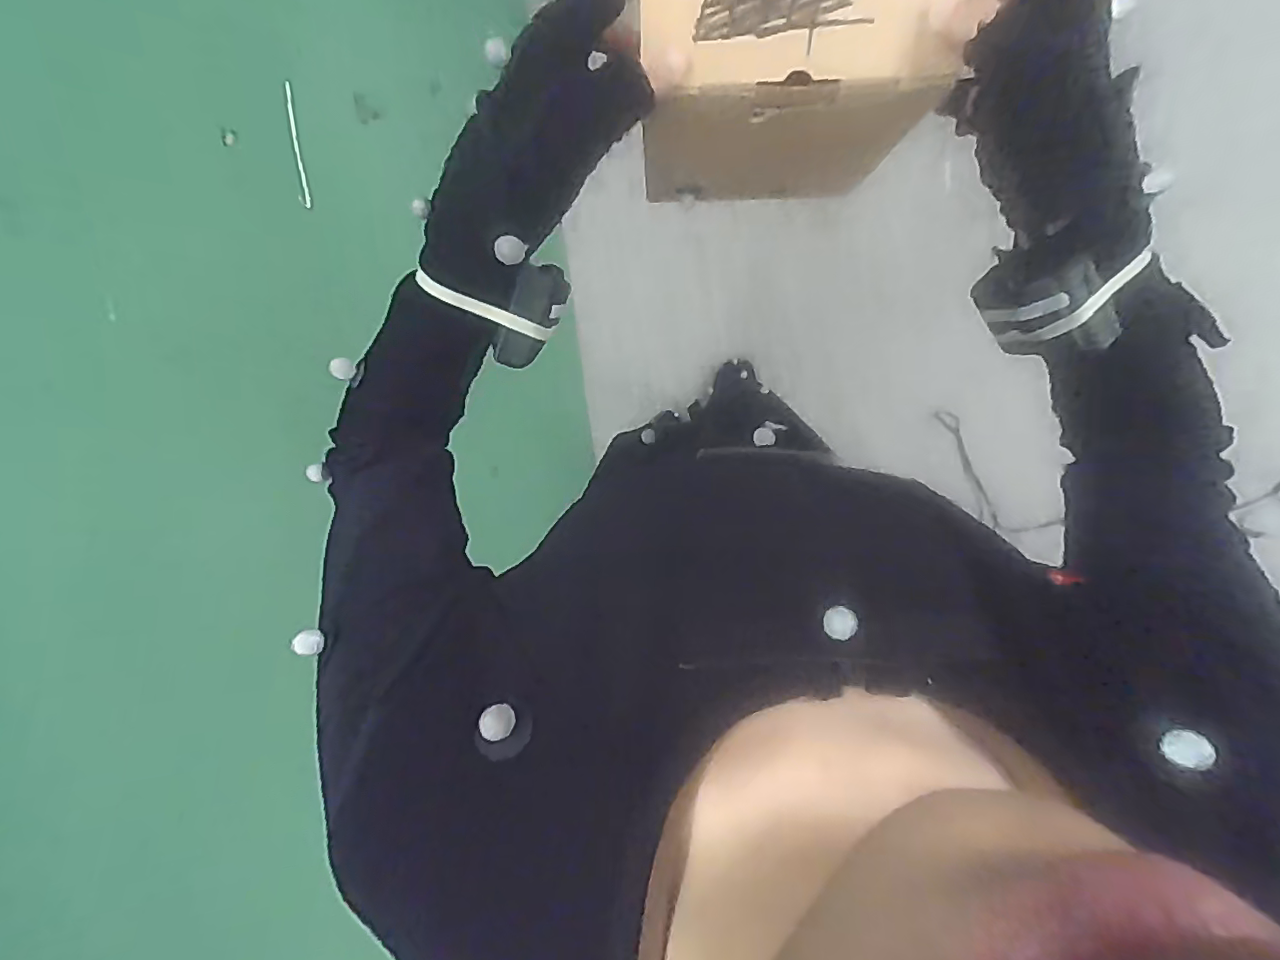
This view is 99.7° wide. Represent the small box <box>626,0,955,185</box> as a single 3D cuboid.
[{"bbox_3d":[0.078,-0.305,0.342,0.168,0.176,0.179,0,98,2],"label":"small box"}]
